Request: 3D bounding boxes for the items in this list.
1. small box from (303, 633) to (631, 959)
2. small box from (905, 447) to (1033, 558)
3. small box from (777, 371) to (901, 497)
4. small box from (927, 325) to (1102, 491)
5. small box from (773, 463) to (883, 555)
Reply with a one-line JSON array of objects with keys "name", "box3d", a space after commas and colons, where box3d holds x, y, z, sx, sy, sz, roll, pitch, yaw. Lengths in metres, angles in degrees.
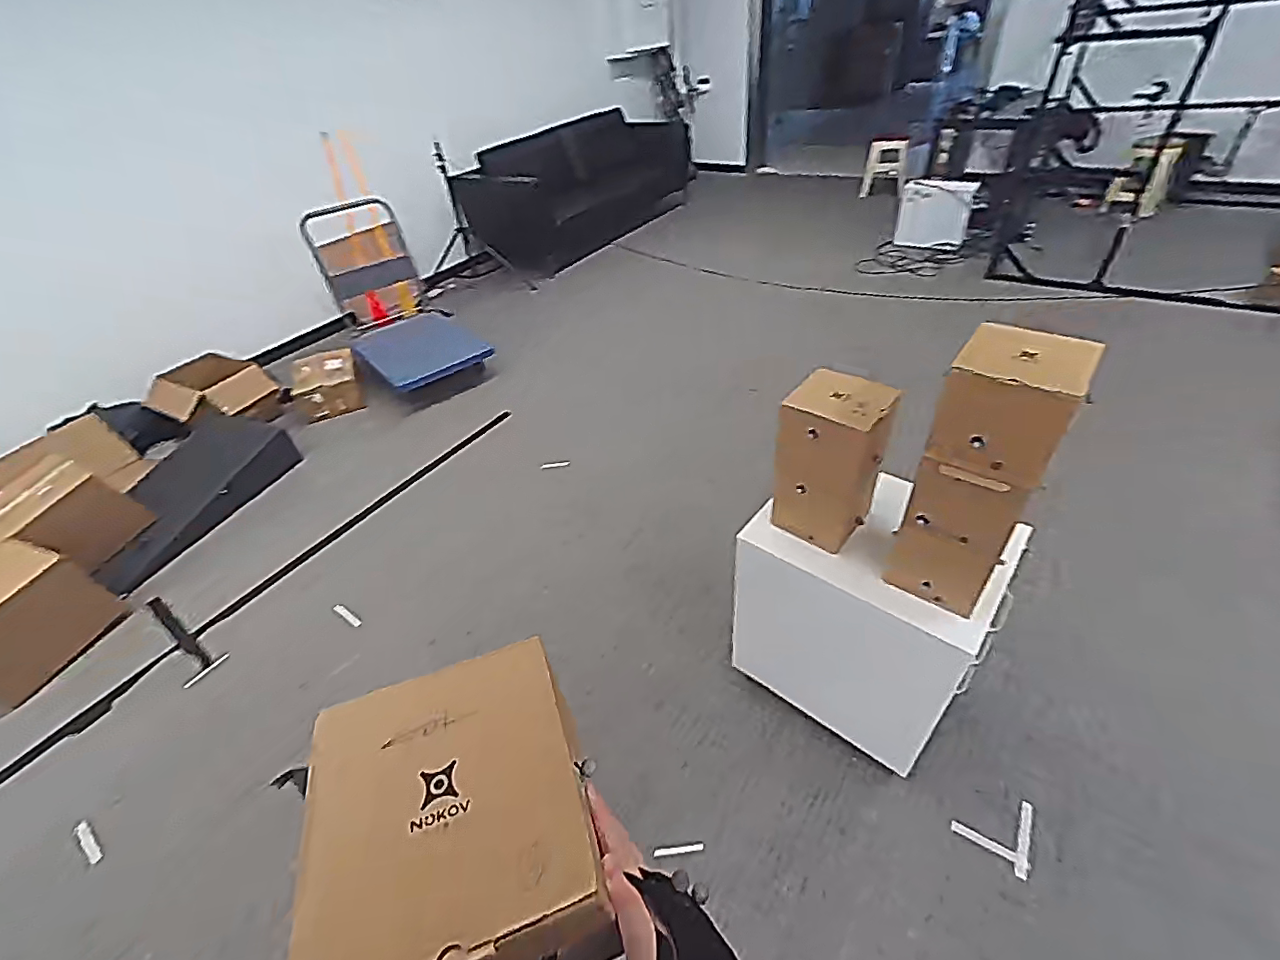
[{"name": "small box", "box3d": [-0.111, 0.251, 0.395, 0.168, 0.176, 0.179, -15, 42, -10]}, {"name": "small box", "box3d": [0.590, 0.006, 0.954, 0.168, 0.176, 0.179, 25, 49, 32]}, {"name": "small box", "box3d": [0.392, -0.093, 1.094, 0.179, 0.176, 0.168, 27, 51, 33]}, {"name": "small box", "box3d": [0.575, -0.115, 0.847, 0.168, 0.176, 0.179, 25, 50, 31]}, {"name": "small box", "box3d": [0.410, 0.030, 1.203, 0.168, 0.176, 0.179, 27, 50, 33]}]
